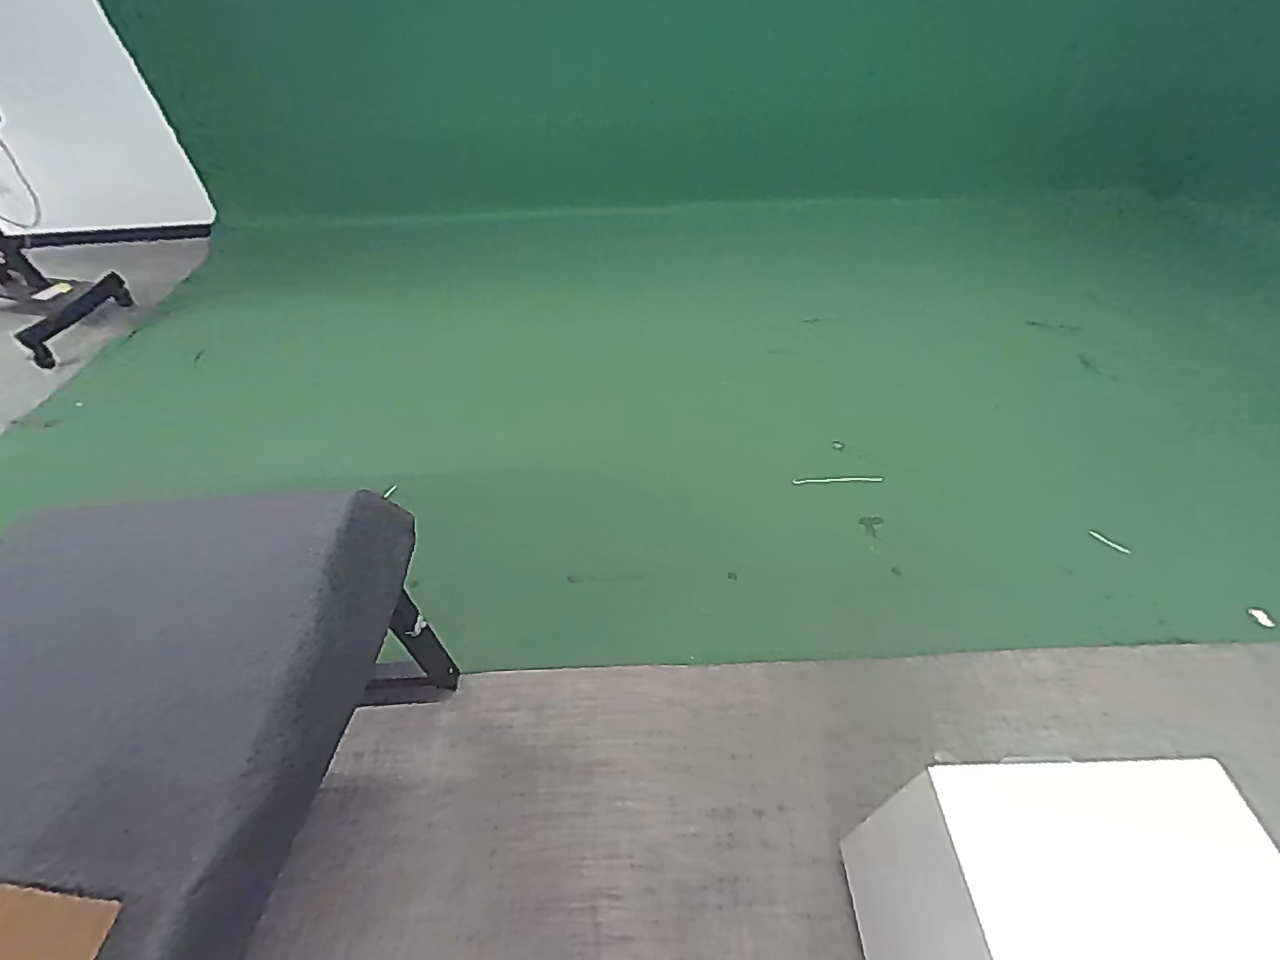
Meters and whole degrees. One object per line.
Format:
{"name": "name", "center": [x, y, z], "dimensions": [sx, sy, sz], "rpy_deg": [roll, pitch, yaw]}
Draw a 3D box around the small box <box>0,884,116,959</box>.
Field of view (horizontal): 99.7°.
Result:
{"name": "small box", "center": [-0.636, 0.463, 0.469], "dimensions": [0.168, 0.176, 0.179], "rpy_deg": [-2, 47, 3]}
